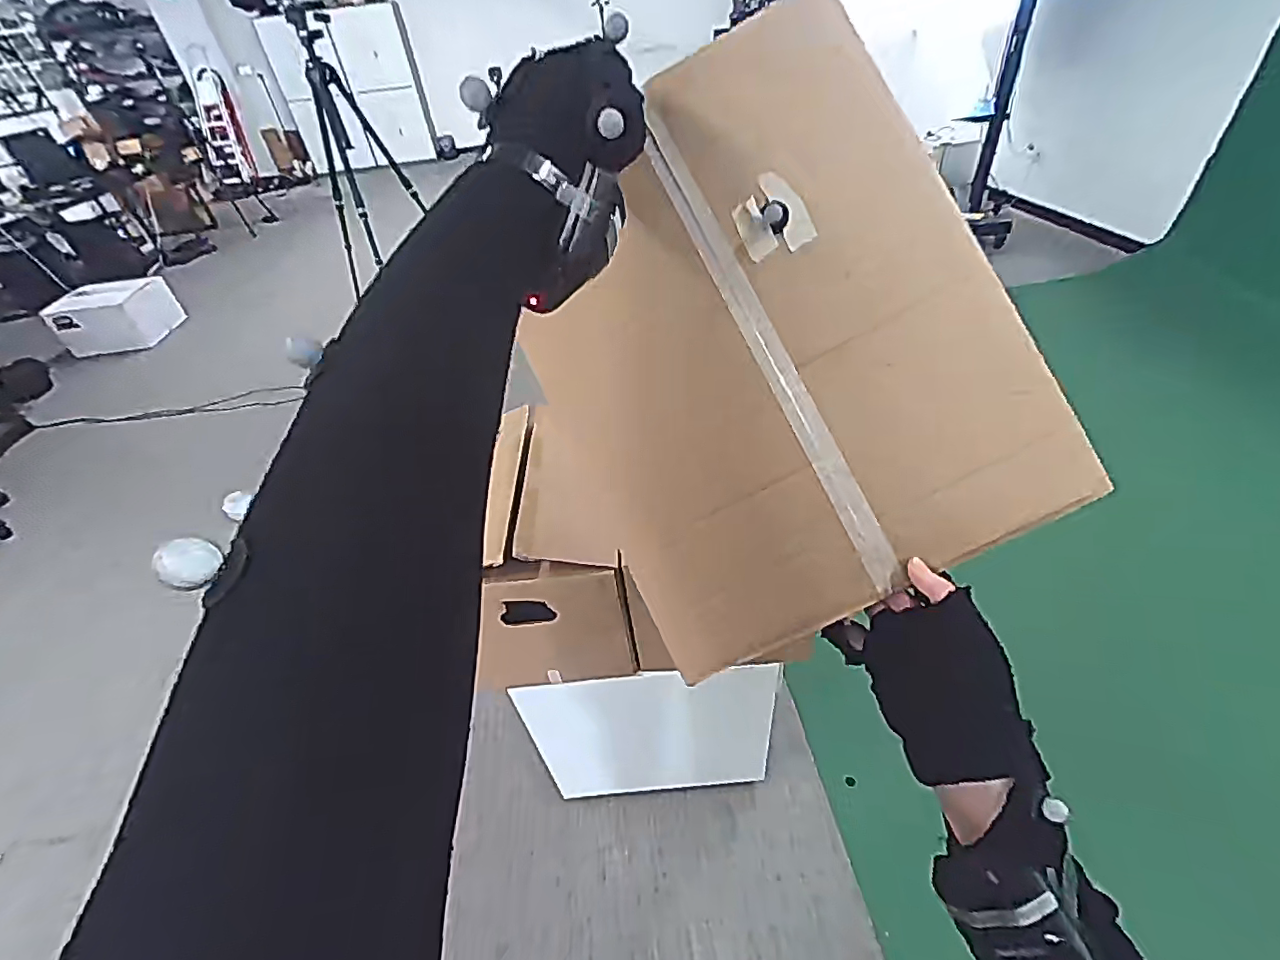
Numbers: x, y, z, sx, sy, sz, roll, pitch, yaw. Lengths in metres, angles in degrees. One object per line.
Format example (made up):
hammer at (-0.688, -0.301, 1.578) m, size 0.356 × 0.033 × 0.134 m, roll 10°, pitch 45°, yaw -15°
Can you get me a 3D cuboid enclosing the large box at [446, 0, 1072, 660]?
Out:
large box at (0.090, -0.104, 0.540) m, size 0.320 × 0.320 × 0.408 m, roll -27°, pitch 85°, yaw 7°
